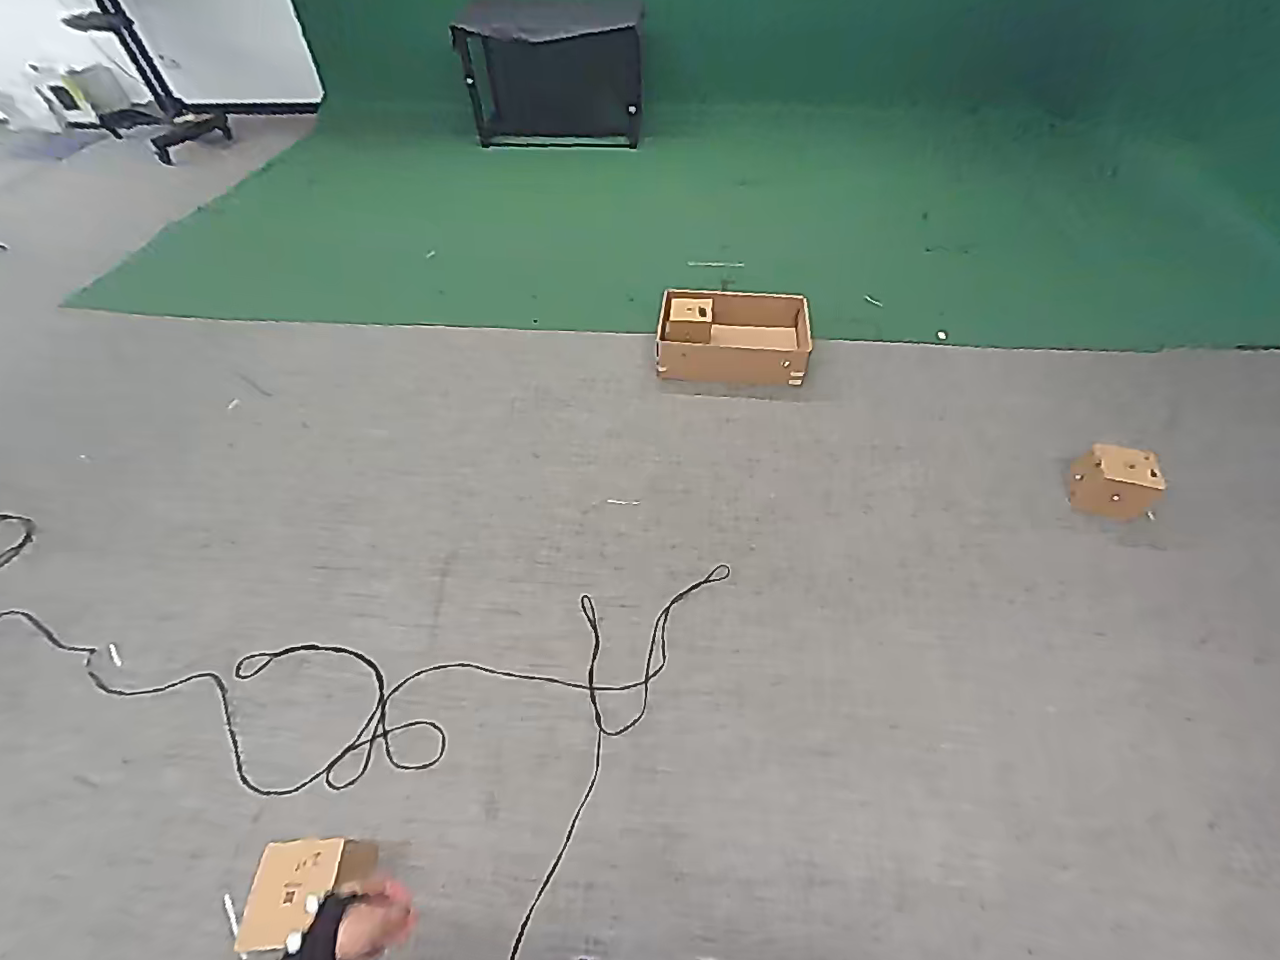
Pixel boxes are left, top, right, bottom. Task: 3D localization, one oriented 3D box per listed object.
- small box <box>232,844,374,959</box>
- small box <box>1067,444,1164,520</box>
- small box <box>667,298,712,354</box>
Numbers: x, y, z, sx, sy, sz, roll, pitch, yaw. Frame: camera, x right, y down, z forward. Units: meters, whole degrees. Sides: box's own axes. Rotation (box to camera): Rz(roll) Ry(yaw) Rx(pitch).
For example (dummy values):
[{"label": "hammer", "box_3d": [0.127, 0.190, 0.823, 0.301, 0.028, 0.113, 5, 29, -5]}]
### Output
[{"label": "small box", "box_3d": [-0.678, 0.871, 1.115, 0.168, 0.176, 0.179, -4, 49, -1]}, {"label": "small box", "box_3d": [1.549, 0.011, 1.780, 0.179, 0.176, 0.168, 13, 51, 13]}, {"label": "small box", "box_3d": [0.209, -0.653, 2.305, 0.179, 0.176, 0.168, 4, 51, 5]}]
